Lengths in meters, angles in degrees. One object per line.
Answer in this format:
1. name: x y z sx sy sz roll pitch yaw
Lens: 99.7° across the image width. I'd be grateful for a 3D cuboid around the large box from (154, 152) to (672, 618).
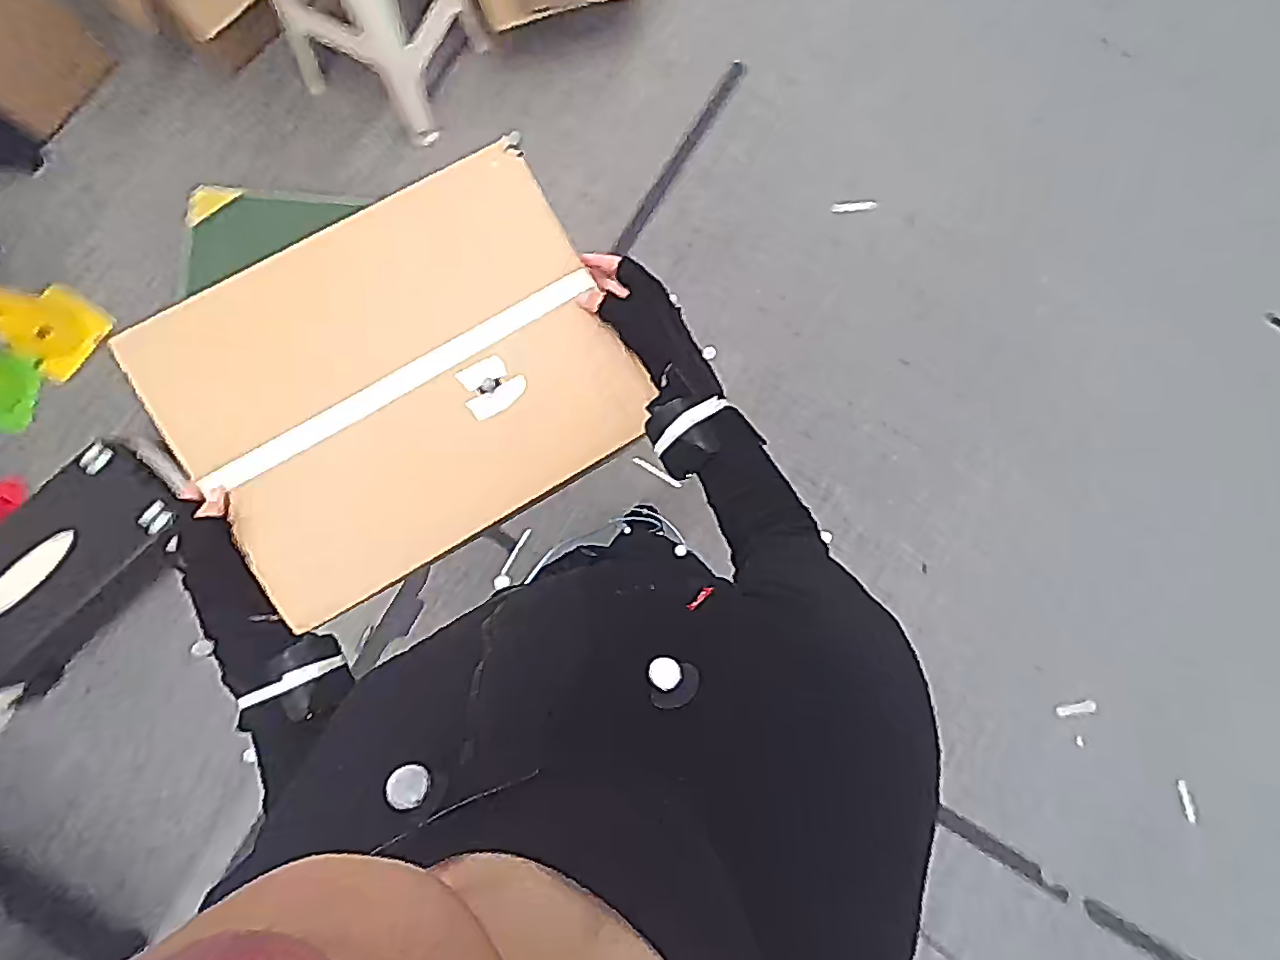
1. large box: -0.226 -0.094 0.672 0.408 0.320 0.320 -30 93 -6
